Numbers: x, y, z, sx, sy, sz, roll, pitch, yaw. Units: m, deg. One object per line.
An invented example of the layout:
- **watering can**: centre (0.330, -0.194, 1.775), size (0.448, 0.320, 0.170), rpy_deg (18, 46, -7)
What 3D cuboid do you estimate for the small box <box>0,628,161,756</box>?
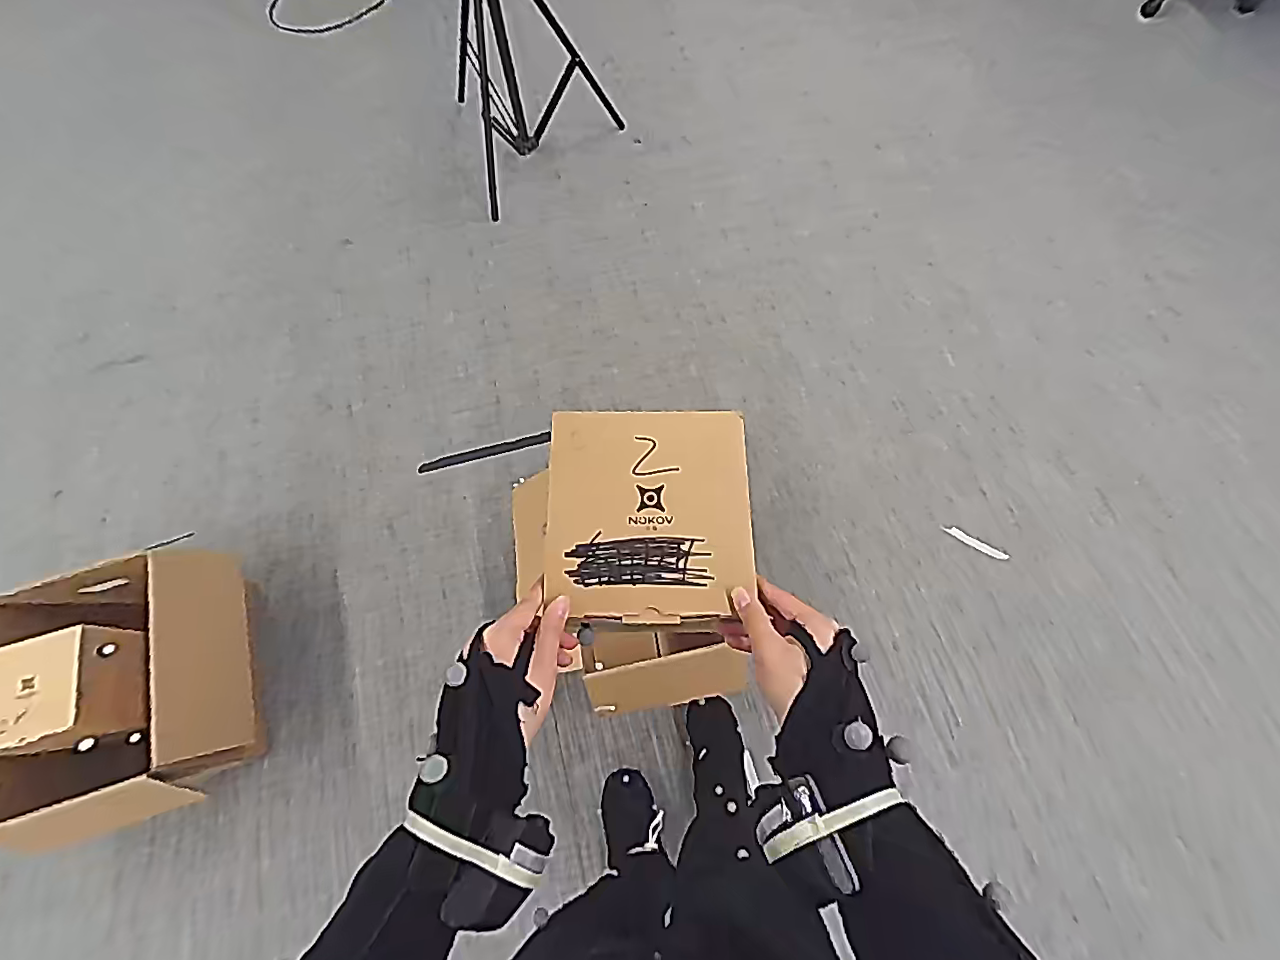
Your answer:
- **small box**: centre (-1.023, 0.387, 0.983), size (0.168, 0.176, 0.179), rpy_deg (-16, 69, -5)
